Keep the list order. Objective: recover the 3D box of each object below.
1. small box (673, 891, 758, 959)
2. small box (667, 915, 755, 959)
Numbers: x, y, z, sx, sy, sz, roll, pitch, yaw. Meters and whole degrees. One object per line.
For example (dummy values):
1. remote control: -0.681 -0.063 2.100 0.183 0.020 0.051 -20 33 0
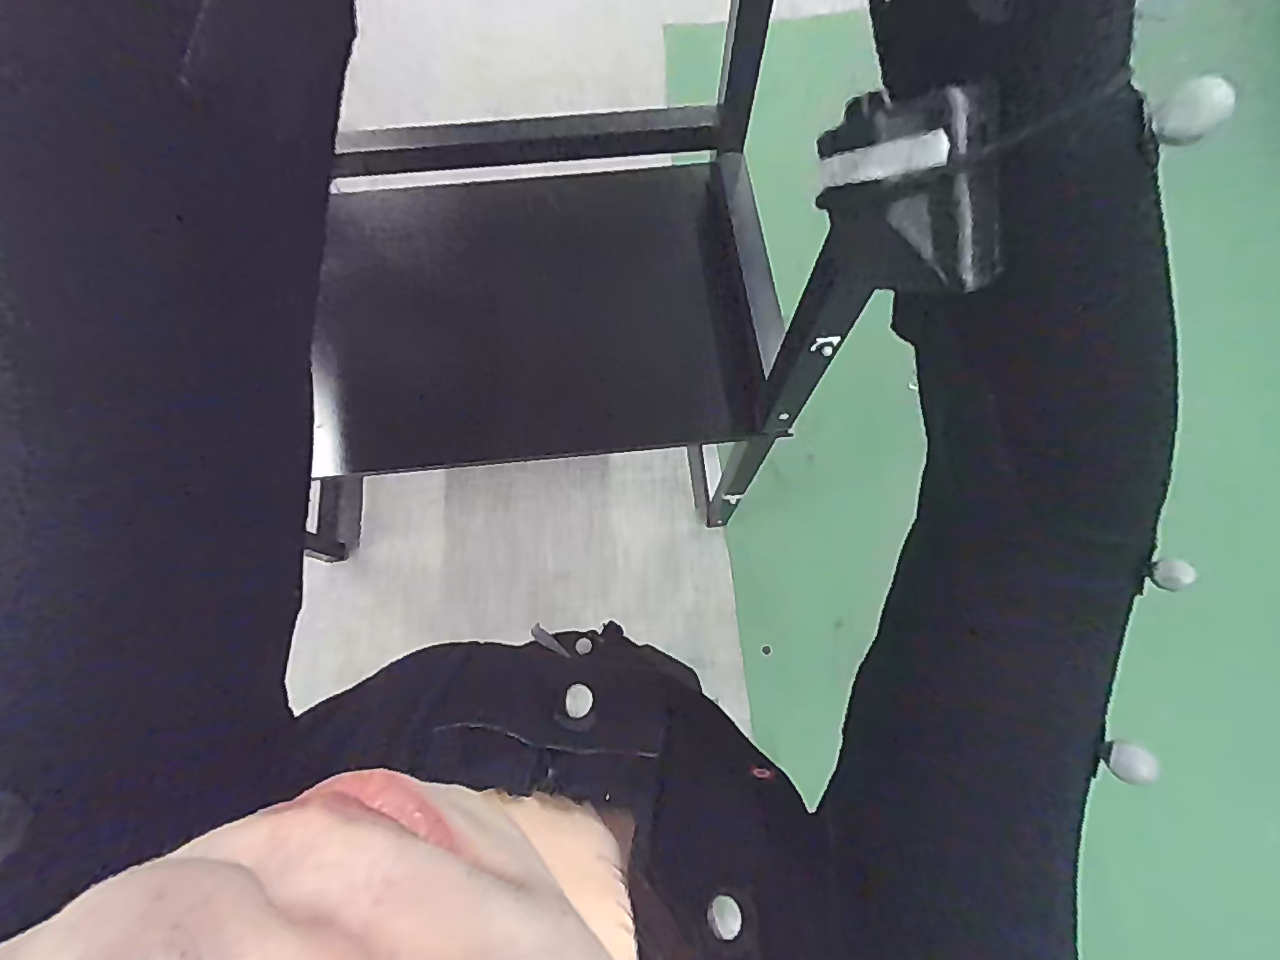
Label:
1. small box: 0.172 1.057 1.208 0.168 0.176 0.179 -12 73 -2
2. small box: 0.157 1.002 1.056 0.168 0.176 0.179 -25 74 -5
